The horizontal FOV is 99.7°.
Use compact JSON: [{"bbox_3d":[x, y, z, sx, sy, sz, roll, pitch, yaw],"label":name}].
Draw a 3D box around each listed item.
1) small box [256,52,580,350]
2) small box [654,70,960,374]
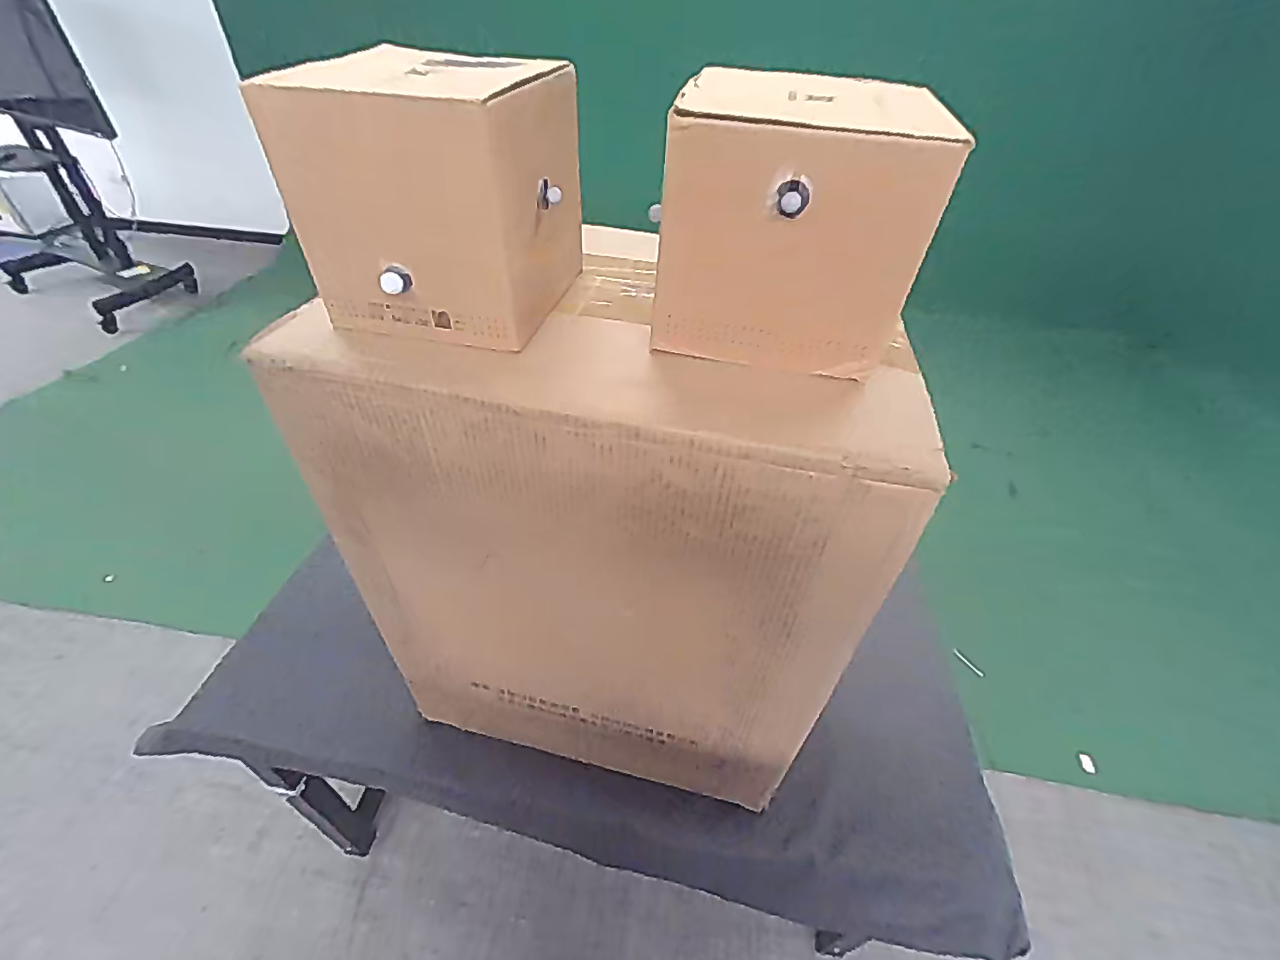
[{"bbox_3d":[-0.151,-0.232,0.446,0.168,0.176,0.179,10,45,8],"label":"small box"},{"bbox_3d":[0.112,-0.204,0.432,0.179,0.176,0.168,12,46,5],"label":"small box"}]
